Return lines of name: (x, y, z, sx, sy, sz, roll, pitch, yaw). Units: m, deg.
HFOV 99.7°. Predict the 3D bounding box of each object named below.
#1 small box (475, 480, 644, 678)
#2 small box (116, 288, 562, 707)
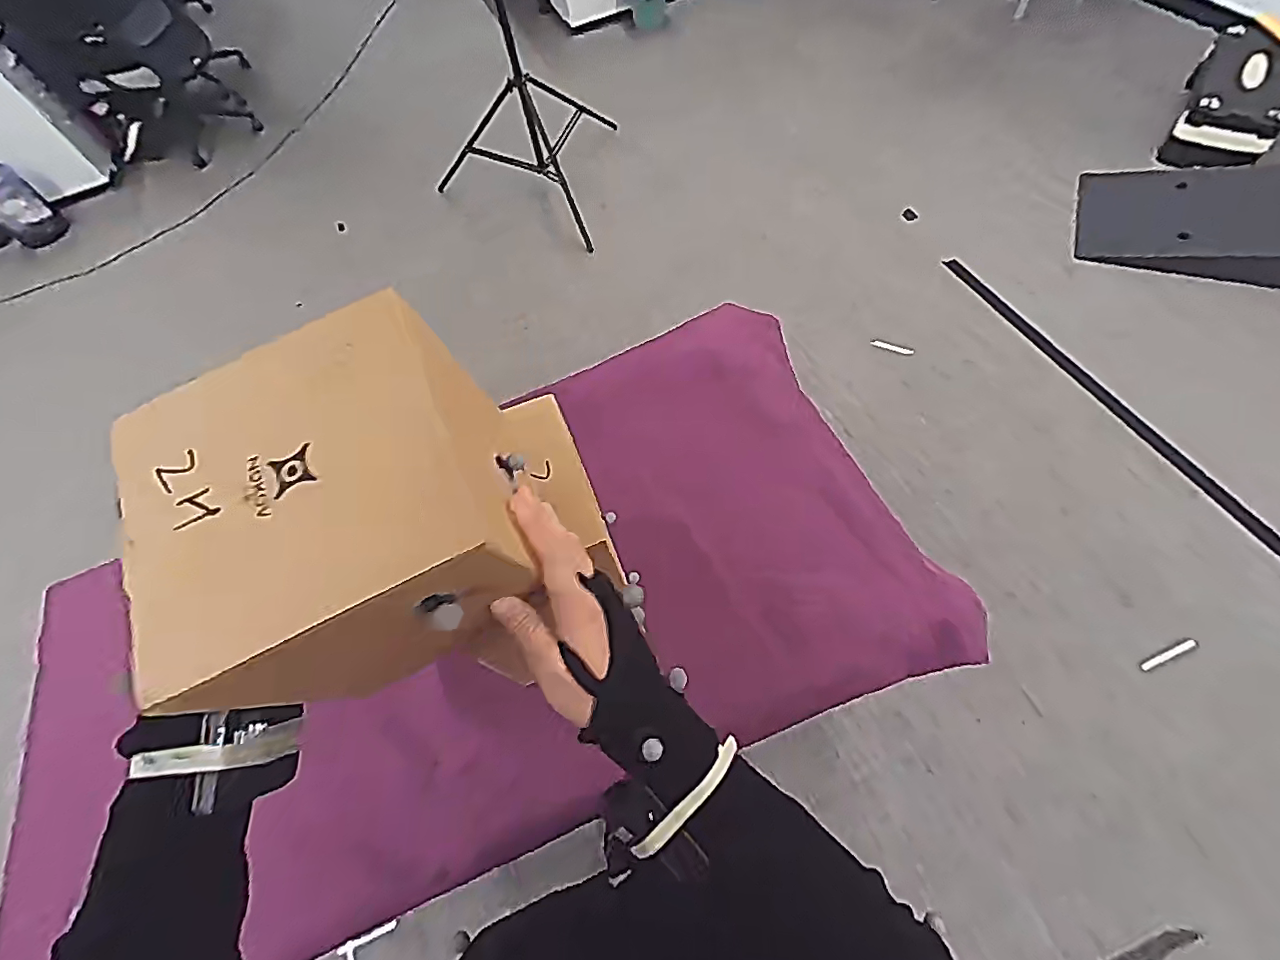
small box: (-0.108, 0.133, 0.683, 0.179, 0.176, 0.168, -21, 61, -5)
small box: (-0.165, 0.022, 0.348, 0.179, 0.176, 0.168, -29, 68, -2)
